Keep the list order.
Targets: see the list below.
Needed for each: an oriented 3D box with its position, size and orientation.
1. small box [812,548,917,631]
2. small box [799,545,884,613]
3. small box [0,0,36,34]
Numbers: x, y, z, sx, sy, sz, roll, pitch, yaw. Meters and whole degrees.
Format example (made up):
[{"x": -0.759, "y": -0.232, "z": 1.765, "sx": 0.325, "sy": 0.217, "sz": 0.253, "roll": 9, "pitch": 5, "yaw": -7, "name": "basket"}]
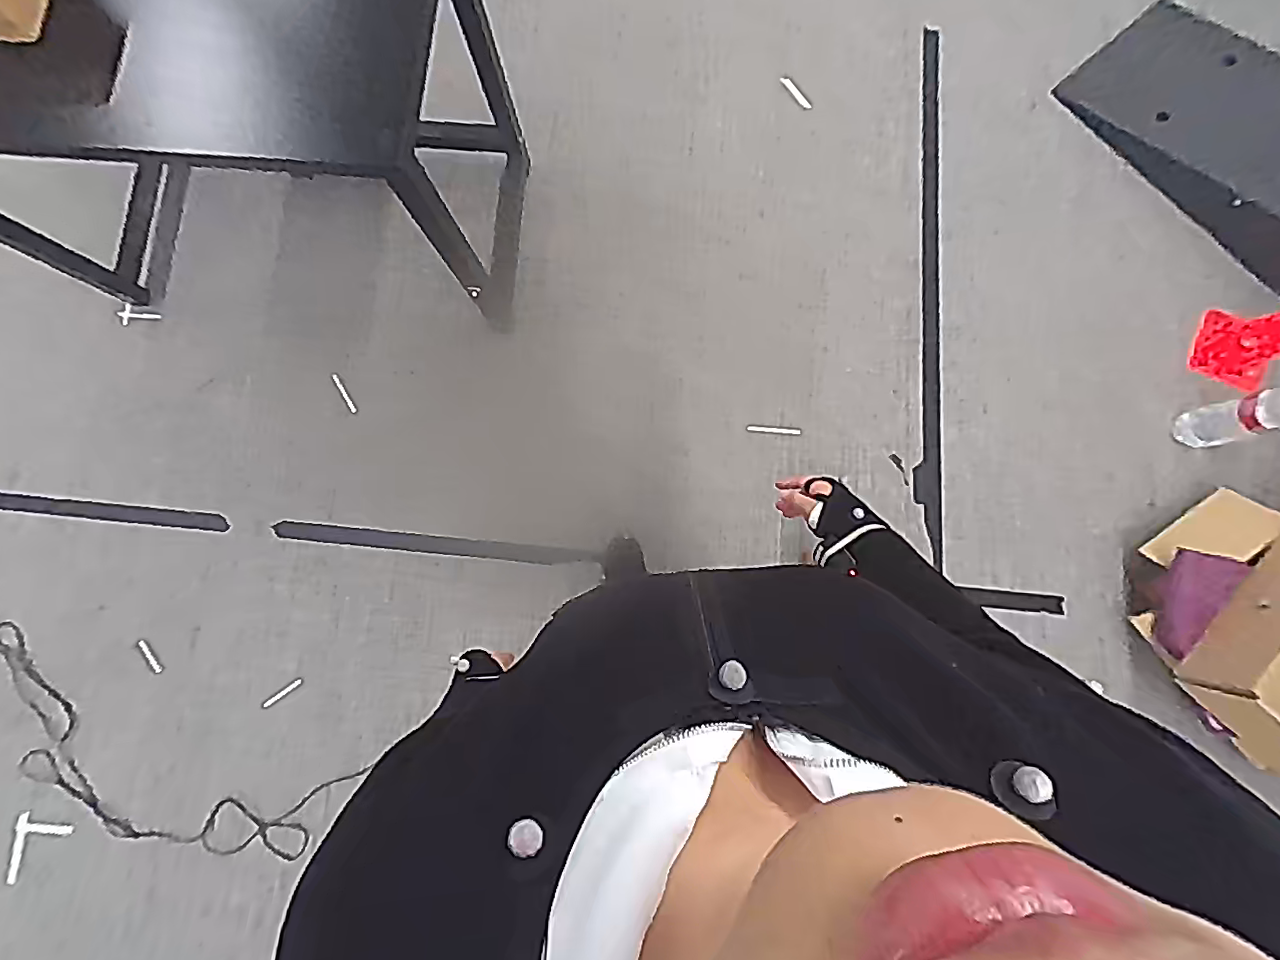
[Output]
[{"x": 0.512, "y": 0.247, "z": 1.250, "sx": 0.179, "sy": 0.176, "sz": 0.168, "roll": 5, "pitch": 82, "yaw": 3, "name": "small box"}, {"x": 0.522, "y": 0.267, "z": 1.413, "sx": 0.168, "sy": 0.176, "sz": 0.179, "roll": 5, "pitch": 83, "yaw": 3, "name": "small box"}, {"x": -1.124, "y": -0.865, "z": 0.866, "sx": 0.168, "sy": 0.176, "sz": 0.179, "roll": 4, "pitch": 81, "yaw": 0, "name": "small box"}]
